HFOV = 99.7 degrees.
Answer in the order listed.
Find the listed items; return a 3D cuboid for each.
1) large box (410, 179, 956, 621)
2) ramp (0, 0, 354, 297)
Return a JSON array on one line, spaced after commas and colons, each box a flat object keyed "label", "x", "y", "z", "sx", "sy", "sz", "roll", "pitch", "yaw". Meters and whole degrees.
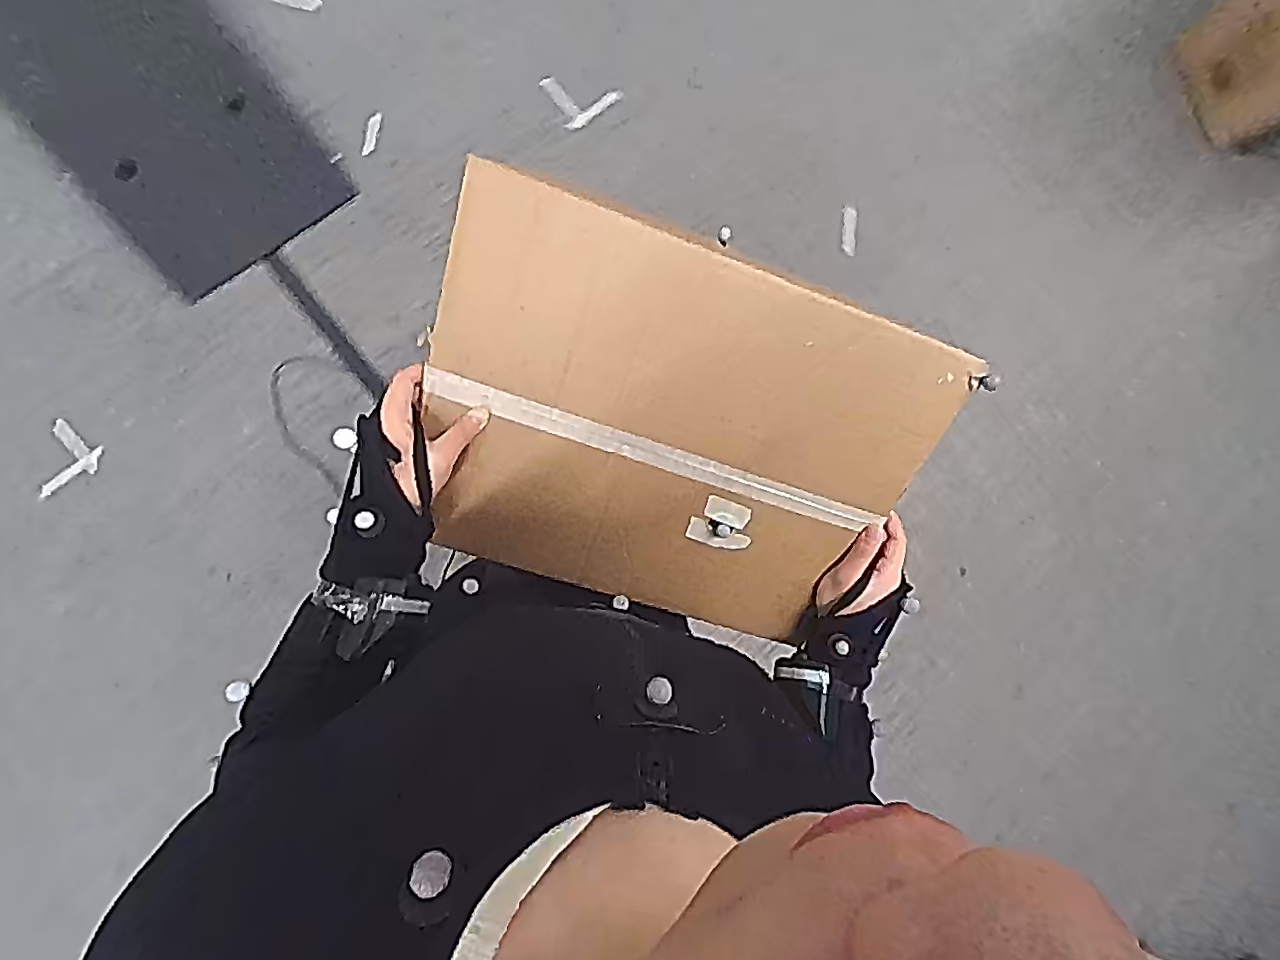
[{"label": "large box", "x": 0.014, "y": -0.099, "z": 0.593, "sx": 0.408, "sy": 0.320, "sz": 0.320, "roll": 15, "pitch": 118, "yaw": -10}, {"label": "ramp", "x": -1.195, "y": -0.968, "z": 1.227, "sx": 0.509, "sy": 0.206, "sz": 0.991, "roll": -41, "pitch": 94, "yaw": -10}]
